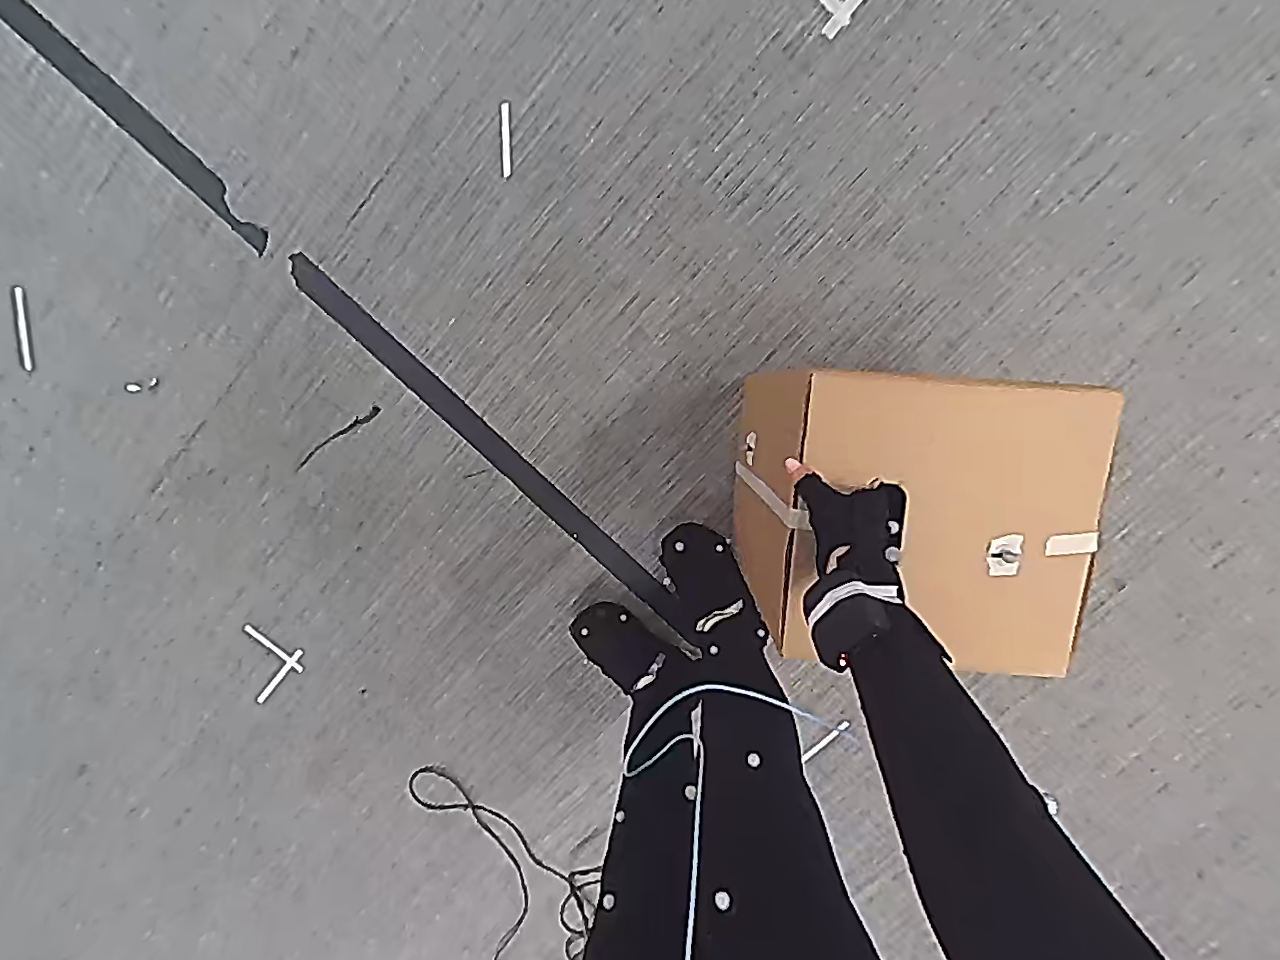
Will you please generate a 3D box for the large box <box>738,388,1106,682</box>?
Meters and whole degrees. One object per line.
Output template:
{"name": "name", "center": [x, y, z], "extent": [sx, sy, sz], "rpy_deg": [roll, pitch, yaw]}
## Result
{"name": "large box", "center": [0.326, 0.037, 0.760], "extent": [0.320, 0.408, 0.320], "rpy_deg": [4, 100, 2]}
